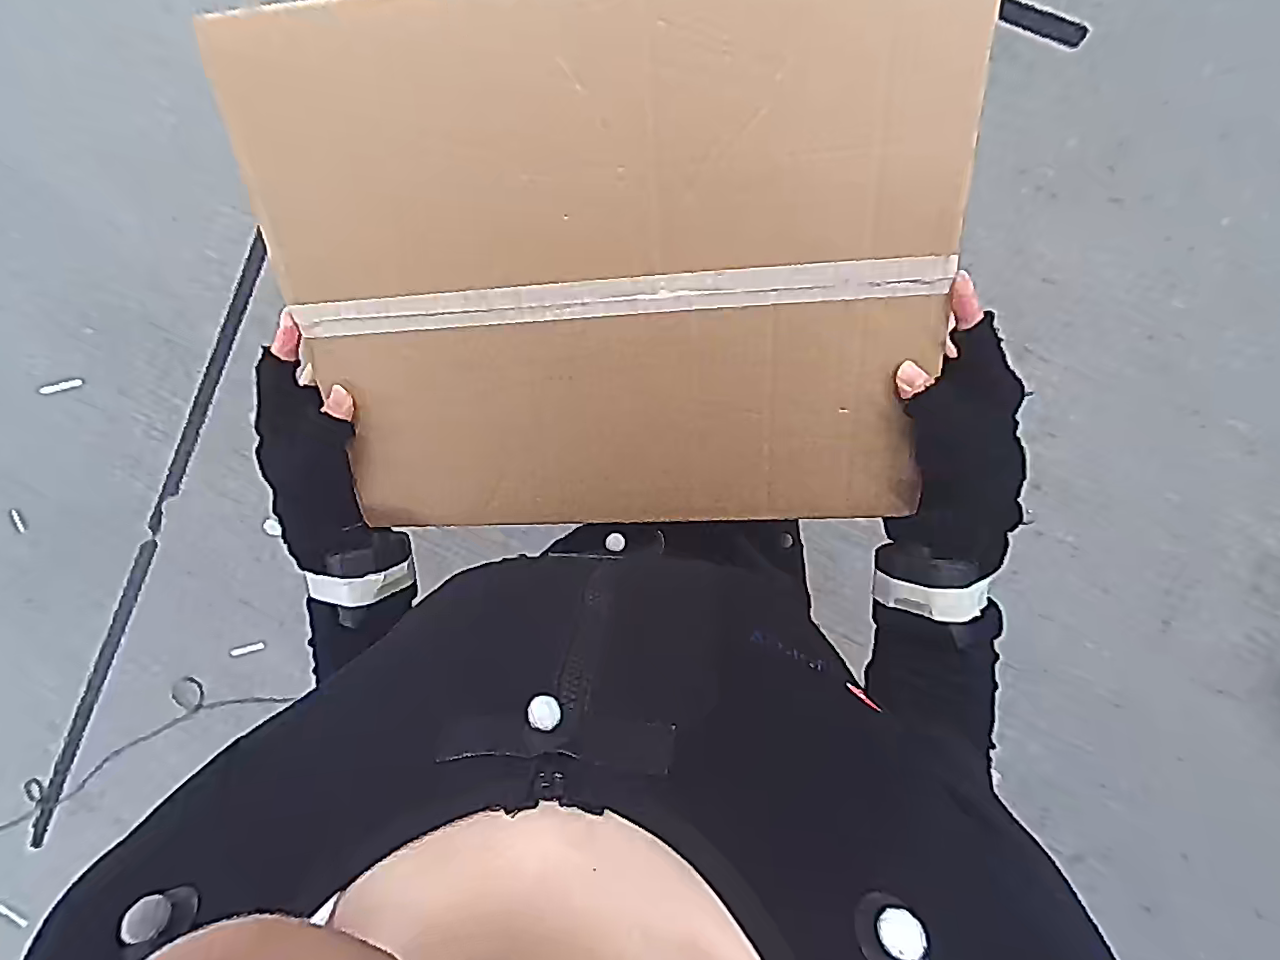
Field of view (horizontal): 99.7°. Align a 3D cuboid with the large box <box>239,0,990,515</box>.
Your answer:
[{"bbox_3d":[-0.005,-0.180,0.471,0.408,0.320,0.320,-1,116,6],"label":"large box"}]
